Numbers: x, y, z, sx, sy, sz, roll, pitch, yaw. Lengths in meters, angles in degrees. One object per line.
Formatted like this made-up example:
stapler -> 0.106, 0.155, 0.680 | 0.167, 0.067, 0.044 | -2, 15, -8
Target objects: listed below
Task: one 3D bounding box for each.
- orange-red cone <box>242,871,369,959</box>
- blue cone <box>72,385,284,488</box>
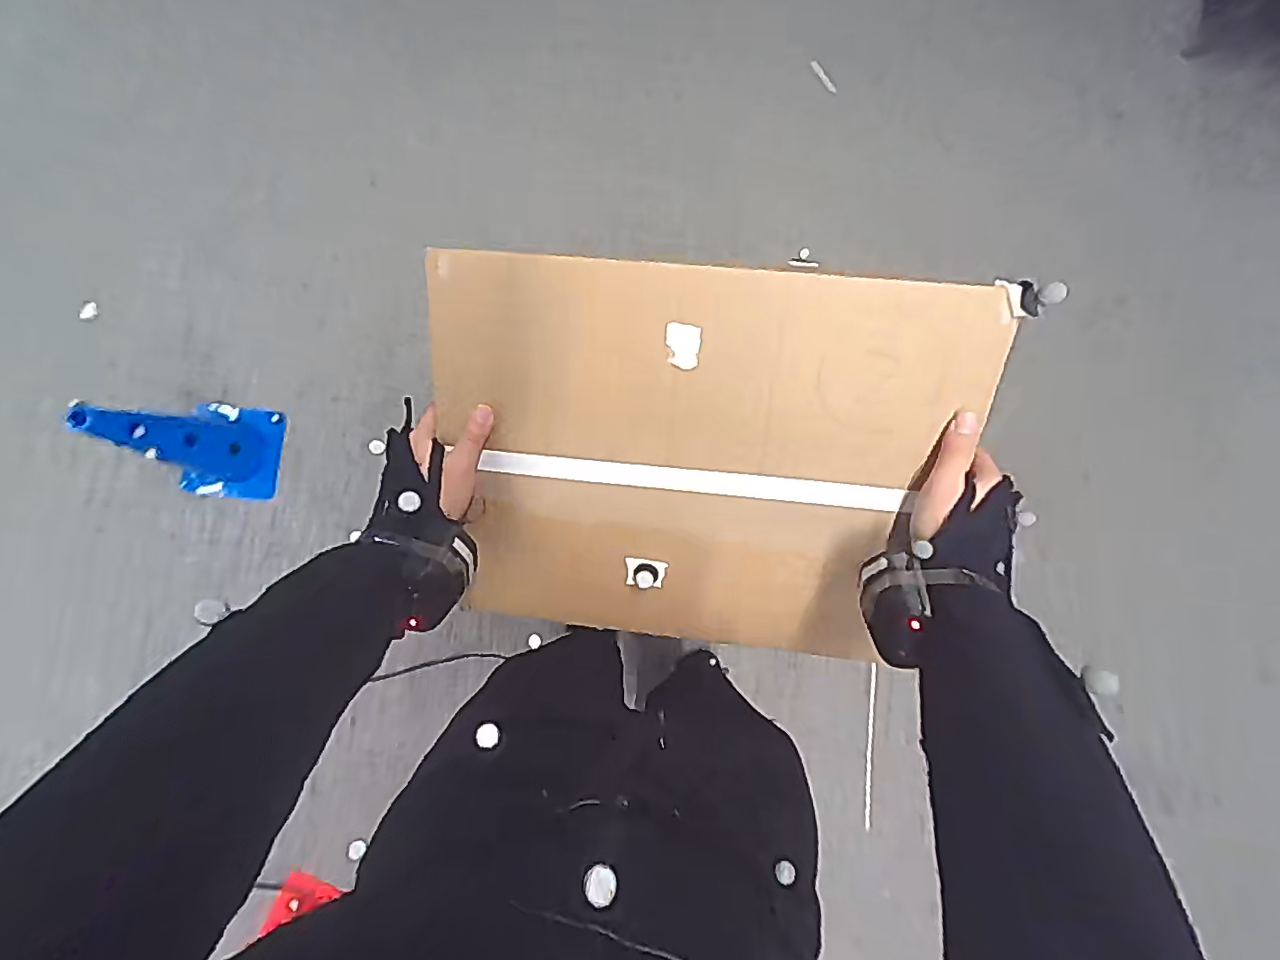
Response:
orange-red cone -> -0.662, 0.897, 0.912 | 0.198, 0.360, 0.199 | 27, 84, 2
blue cone -> -0.886, -0.100, 1.033 | 0.193, 0.380, 0.192 | 7, 83, -2
